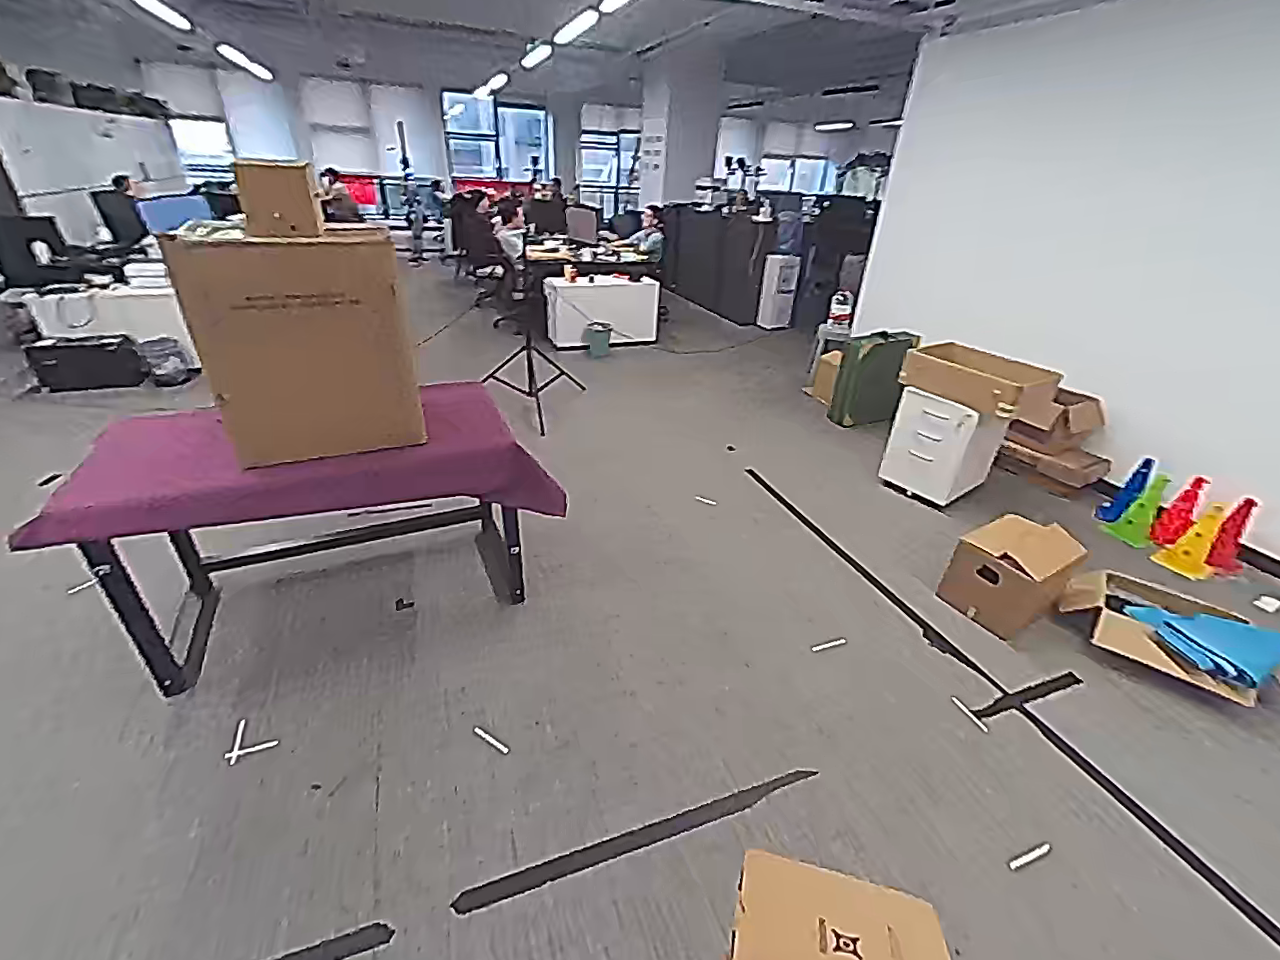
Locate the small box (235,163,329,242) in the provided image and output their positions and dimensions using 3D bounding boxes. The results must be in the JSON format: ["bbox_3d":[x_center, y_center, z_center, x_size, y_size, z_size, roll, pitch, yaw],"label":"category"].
[{"bbox_3d":[-0.953,-0.748,1.457,0.168,0.176,0.179,-10,35,-20],"label":"small box"}]

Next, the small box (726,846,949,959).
[{"bbox_3d":[0.156,0.460,0.449,0.179,0.176,0.168,8,4,14],"label":"small box"}]
